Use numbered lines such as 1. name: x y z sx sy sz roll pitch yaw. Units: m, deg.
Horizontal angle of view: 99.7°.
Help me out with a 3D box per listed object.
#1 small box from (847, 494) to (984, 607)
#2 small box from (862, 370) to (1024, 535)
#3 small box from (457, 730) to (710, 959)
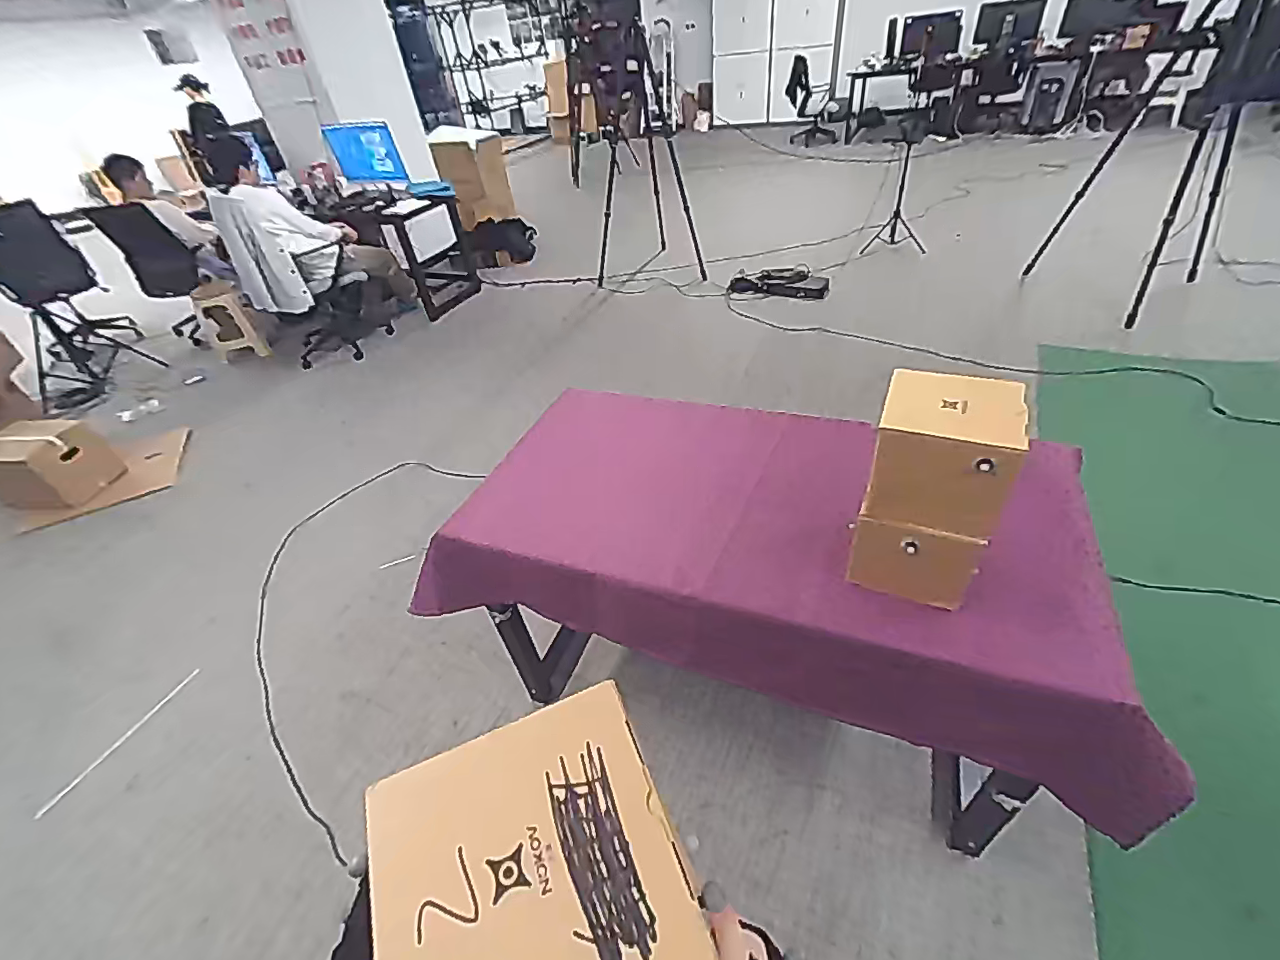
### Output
1. small box: 0.457 0.085 0.903 0.179 0.176 0.168 15 46 25
2. small box: 0.440 -0.041 0.802 0.179 0.176 0.168 13 45 23
3. small box: -0.045 0.376 0.509 0.179 0.176 0.168 -23 51 -13
